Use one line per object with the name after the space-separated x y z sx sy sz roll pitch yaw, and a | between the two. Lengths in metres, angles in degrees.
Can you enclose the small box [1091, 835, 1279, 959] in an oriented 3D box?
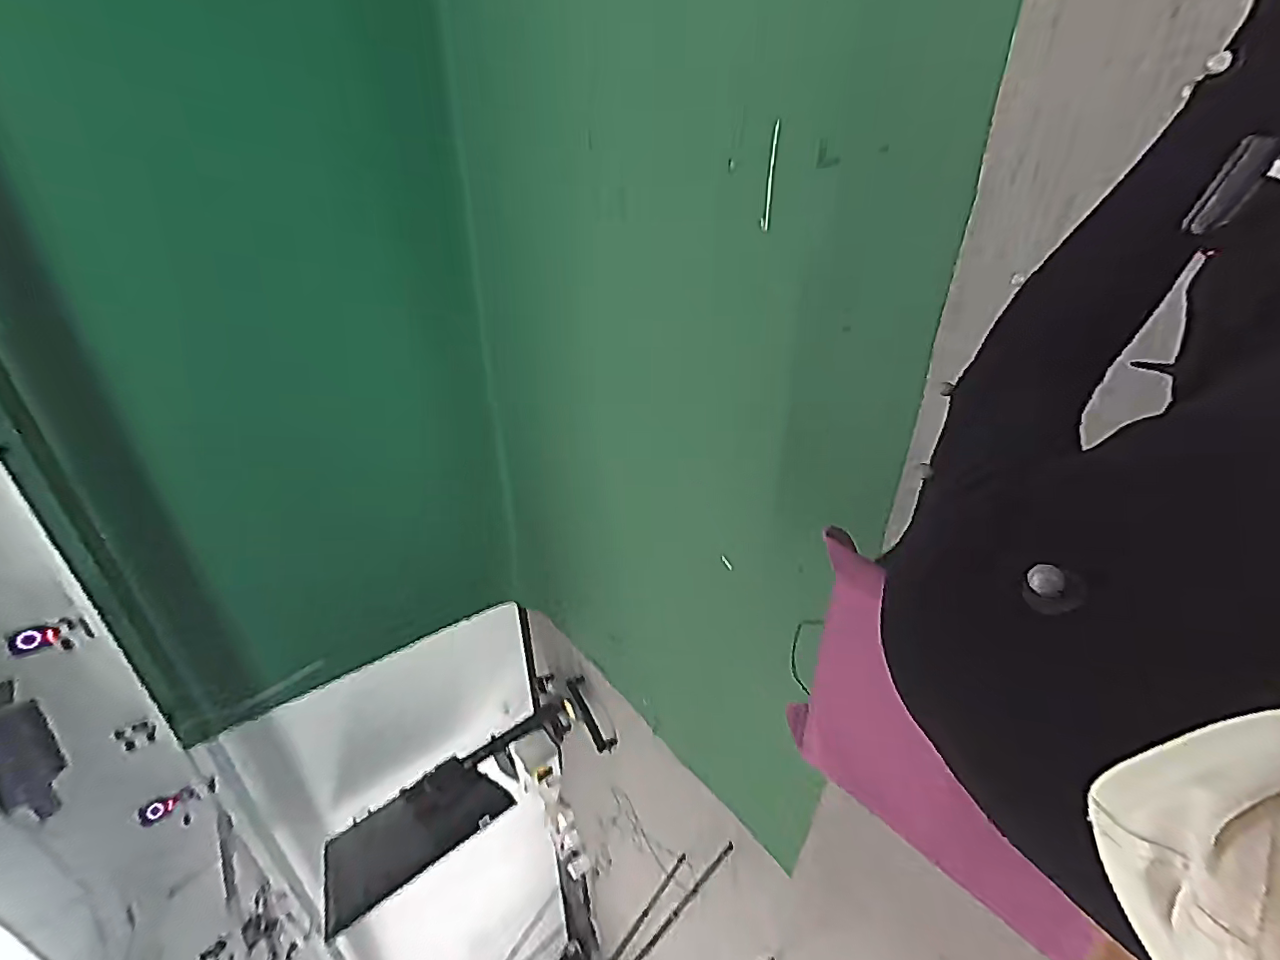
0.779 0.657 0.755 0.168 0.176 0.179 27 128 45 | small box
